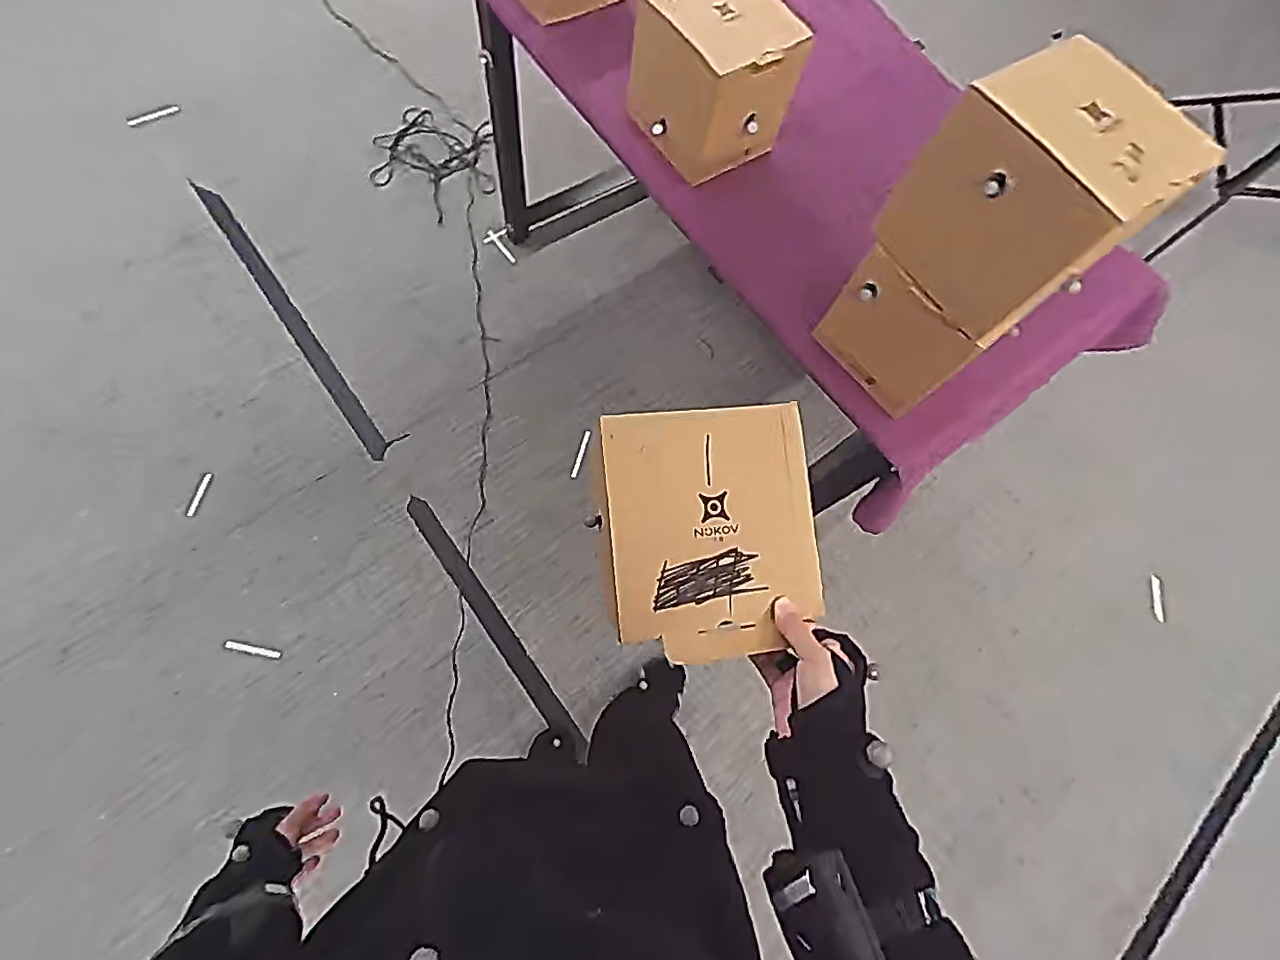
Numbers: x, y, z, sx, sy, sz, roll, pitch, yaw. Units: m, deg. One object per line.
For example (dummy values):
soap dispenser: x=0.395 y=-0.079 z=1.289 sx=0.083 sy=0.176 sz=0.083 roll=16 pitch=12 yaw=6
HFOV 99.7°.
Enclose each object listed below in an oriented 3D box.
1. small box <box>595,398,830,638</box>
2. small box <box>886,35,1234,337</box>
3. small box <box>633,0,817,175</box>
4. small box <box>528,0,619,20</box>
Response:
small box: x=0.051 y=0.033 z=0.498 sx=0.168 sy=0.176 sz=0.179 roll=-5 pitch=84 yaw=-9
small box: x=0.388 y=-0.279 z=0.535 sx=0.168 sy=0.176 sz=0.179 roll=-32 pitch=78 yaw=-17
small box: x=0.109 y=-0.574 z=0.773 sx=0.168 sy=0.176 sz=0.179 roll=-33 pitch=79 yaw=-16
small box: x=-0.121 y=-0.871 z=0.842 sx=0.179 sy=0.176 sz=0.168 roll=-33 pitch=80 yaw=-18
